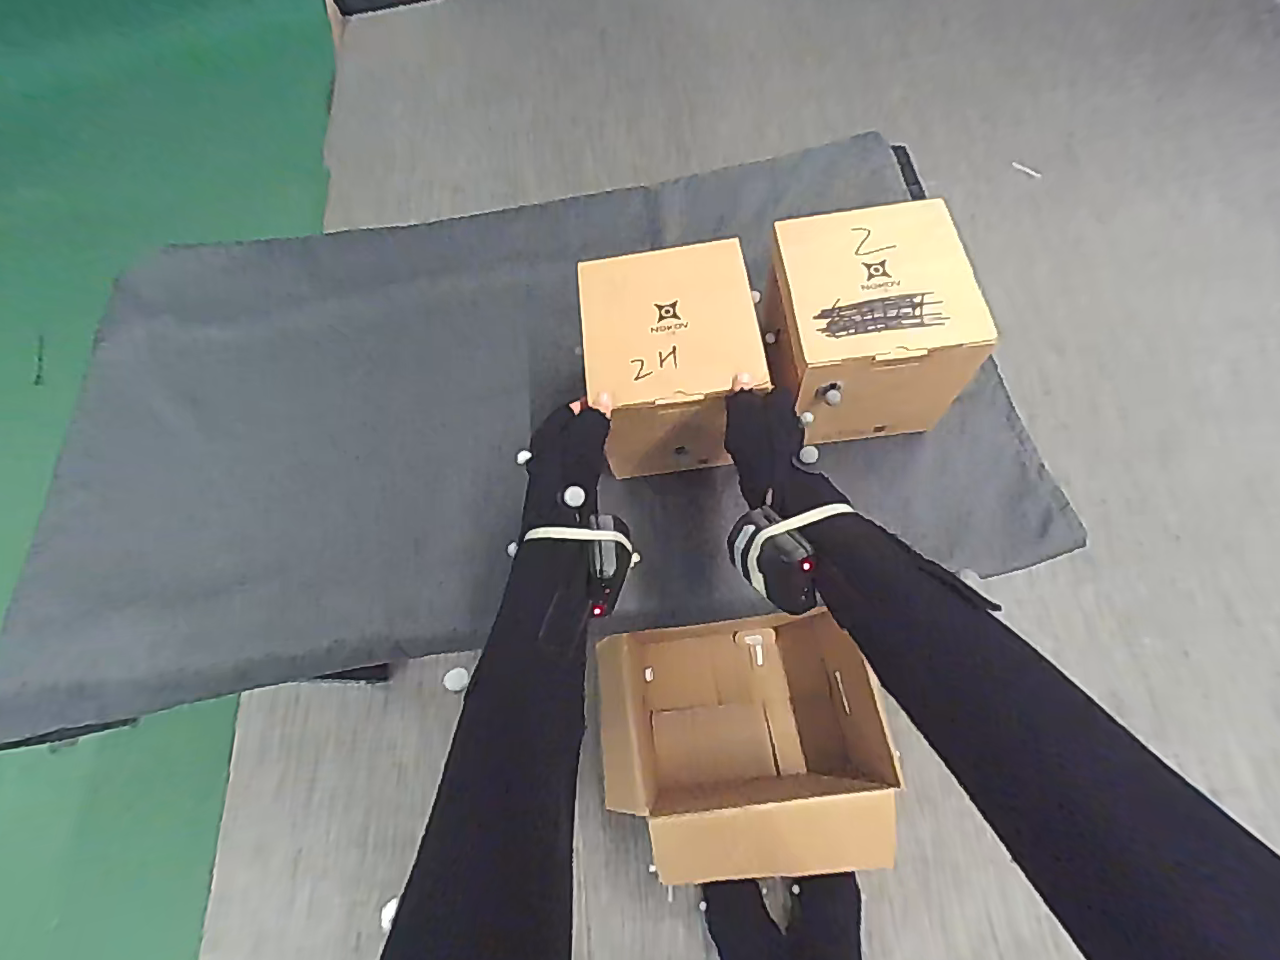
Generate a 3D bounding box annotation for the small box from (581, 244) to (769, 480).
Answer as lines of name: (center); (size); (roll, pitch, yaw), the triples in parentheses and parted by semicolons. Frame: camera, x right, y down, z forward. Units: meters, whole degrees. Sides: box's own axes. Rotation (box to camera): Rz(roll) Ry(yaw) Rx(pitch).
small box: (0.034, -0.118, 0.586); (0.168, 0.176, 0.179); (-8, 67, 4)
